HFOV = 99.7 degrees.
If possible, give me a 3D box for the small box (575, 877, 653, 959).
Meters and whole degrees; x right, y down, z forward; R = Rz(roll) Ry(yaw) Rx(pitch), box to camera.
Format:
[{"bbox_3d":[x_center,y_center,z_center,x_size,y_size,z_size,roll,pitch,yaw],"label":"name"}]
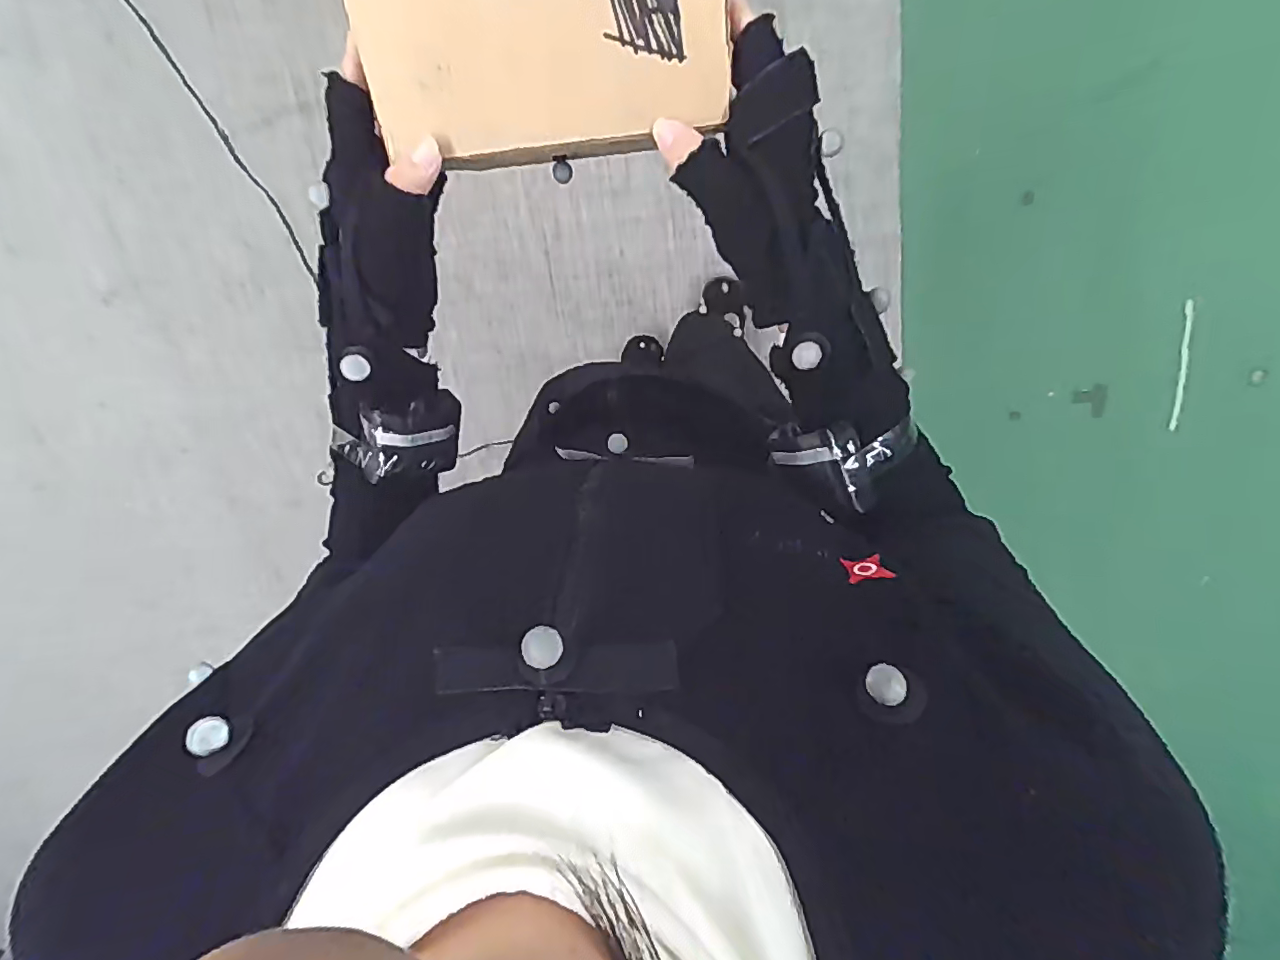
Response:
[{"bbox_3d":[-0.058,1.161,1.393,0.179,0.176,0.168,-6,104,5],"label":"small box"}]
